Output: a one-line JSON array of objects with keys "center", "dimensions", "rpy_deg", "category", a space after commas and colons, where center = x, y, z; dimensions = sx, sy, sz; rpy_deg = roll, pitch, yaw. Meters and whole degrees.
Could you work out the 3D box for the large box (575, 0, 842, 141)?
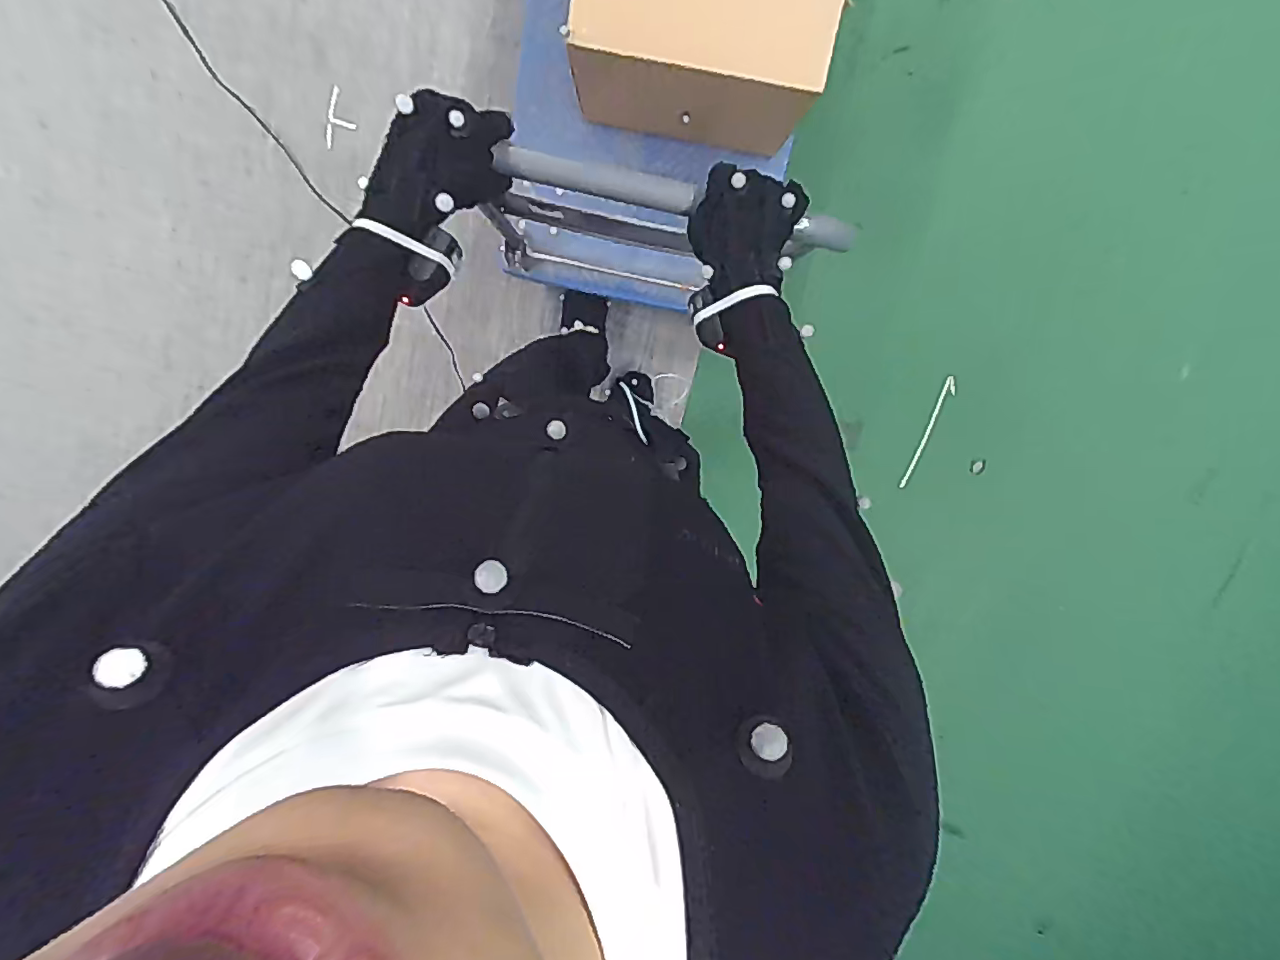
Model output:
[{"center": [0.119, -0.833, 0.942], "dimensions": [0.408, 0.320, 0.320], "rpy_deg": [9, 105, -2], "category": "large box"}]
